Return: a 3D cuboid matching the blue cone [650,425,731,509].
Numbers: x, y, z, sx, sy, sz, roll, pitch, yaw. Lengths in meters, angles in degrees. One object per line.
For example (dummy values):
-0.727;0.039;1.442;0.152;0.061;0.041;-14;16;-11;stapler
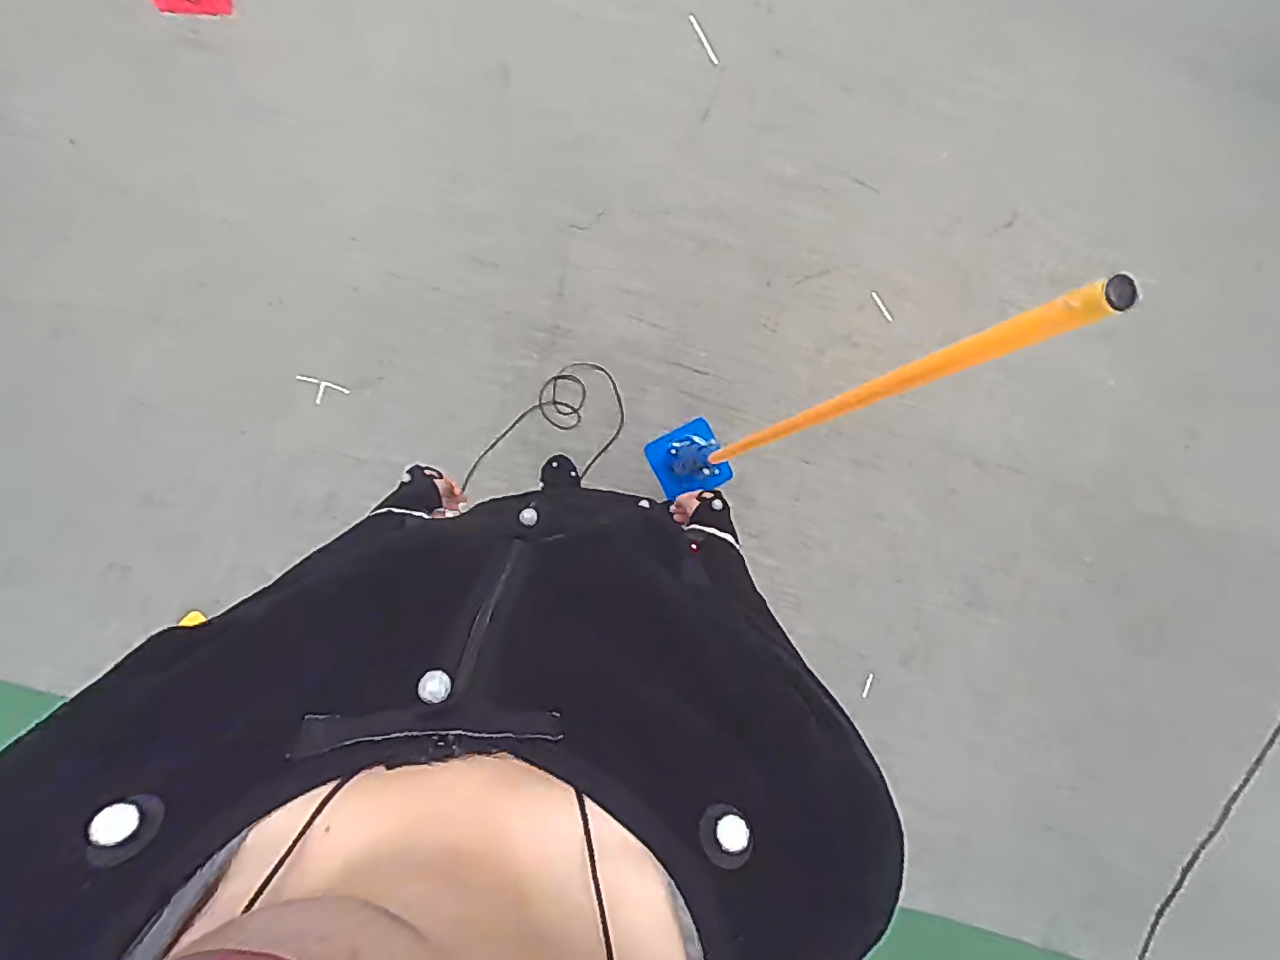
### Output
0.152;-0.040;1.334;0.193;0.380;0.192;-29;92;-4;blue cone
